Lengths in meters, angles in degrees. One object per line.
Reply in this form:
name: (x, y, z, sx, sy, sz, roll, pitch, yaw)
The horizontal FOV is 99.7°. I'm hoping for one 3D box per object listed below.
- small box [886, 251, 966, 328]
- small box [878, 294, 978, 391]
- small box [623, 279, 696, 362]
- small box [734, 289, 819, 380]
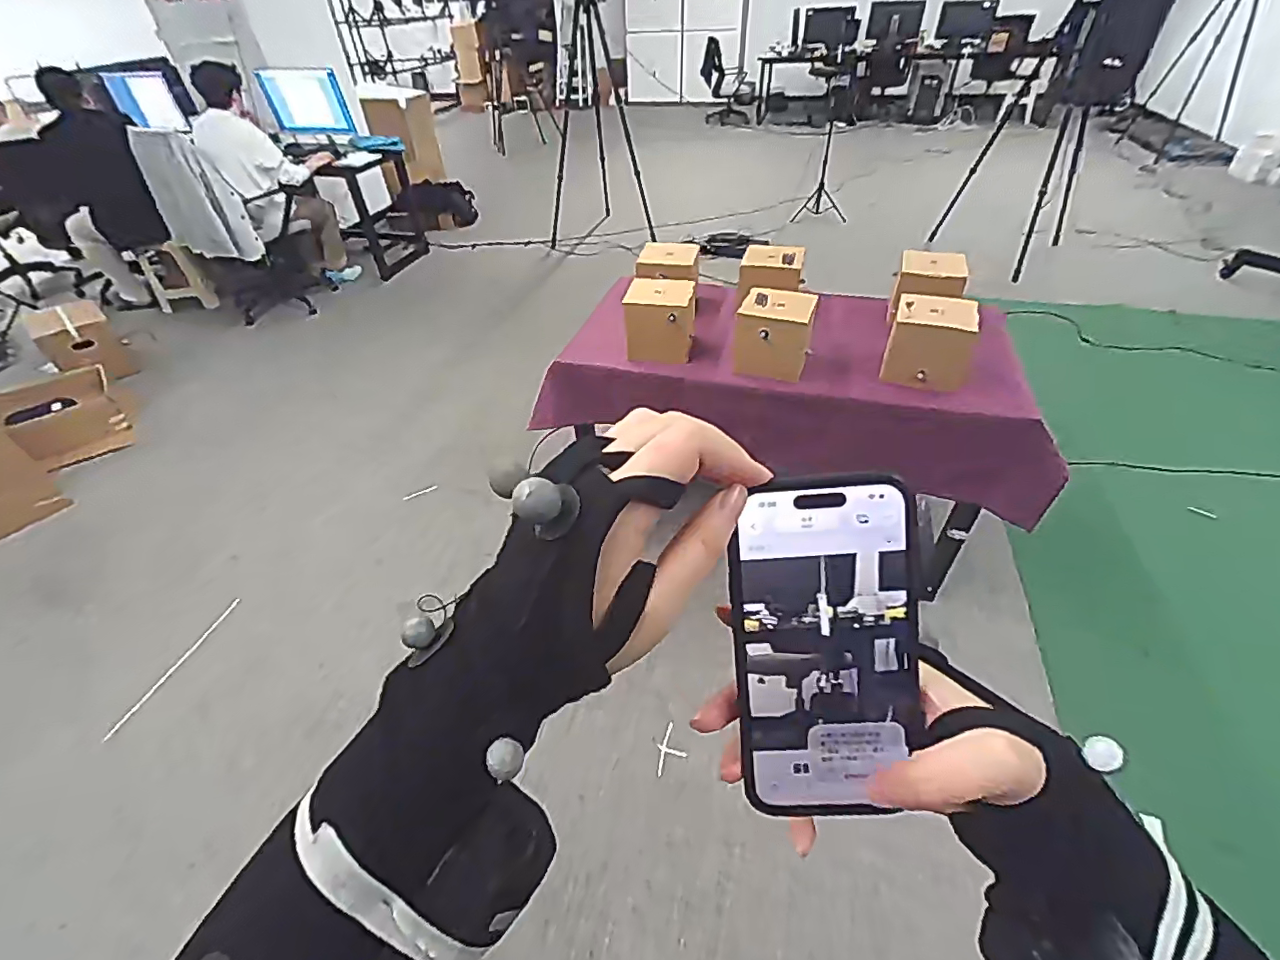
small box: (0.823, -0.544, 1.566, 0.168, 0.176, 0.179, 12, 45, 17)
small box: (0.716, -0.341, 1.352, 0.179, 0.176, 0.168, 15, 45, 19)
small box: (0.058, -0.442, 1.503, 0.179, 0.176, 0.168, 7, 43, 9)
small box: (0.353, -0.381, 1.417, 0.179, 0.176, 0.168, 15, 45, 18)
